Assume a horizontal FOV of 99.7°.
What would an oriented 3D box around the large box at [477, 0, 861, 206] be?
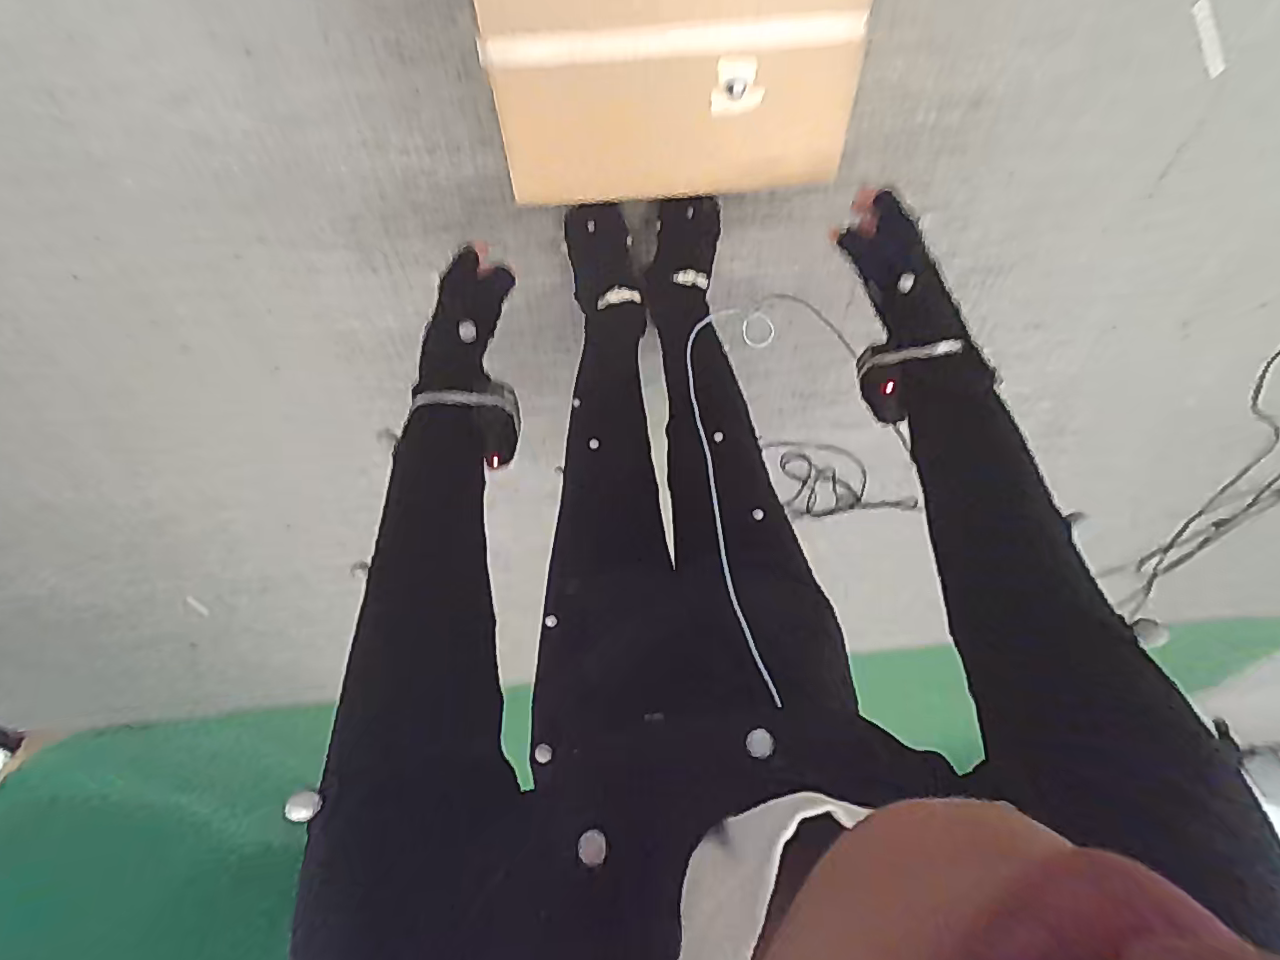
[{"bbox_3d":[0.023,-0.578,0.679,0.408,0.320,0.320,-5,137,-1],"label":"large box"}]
